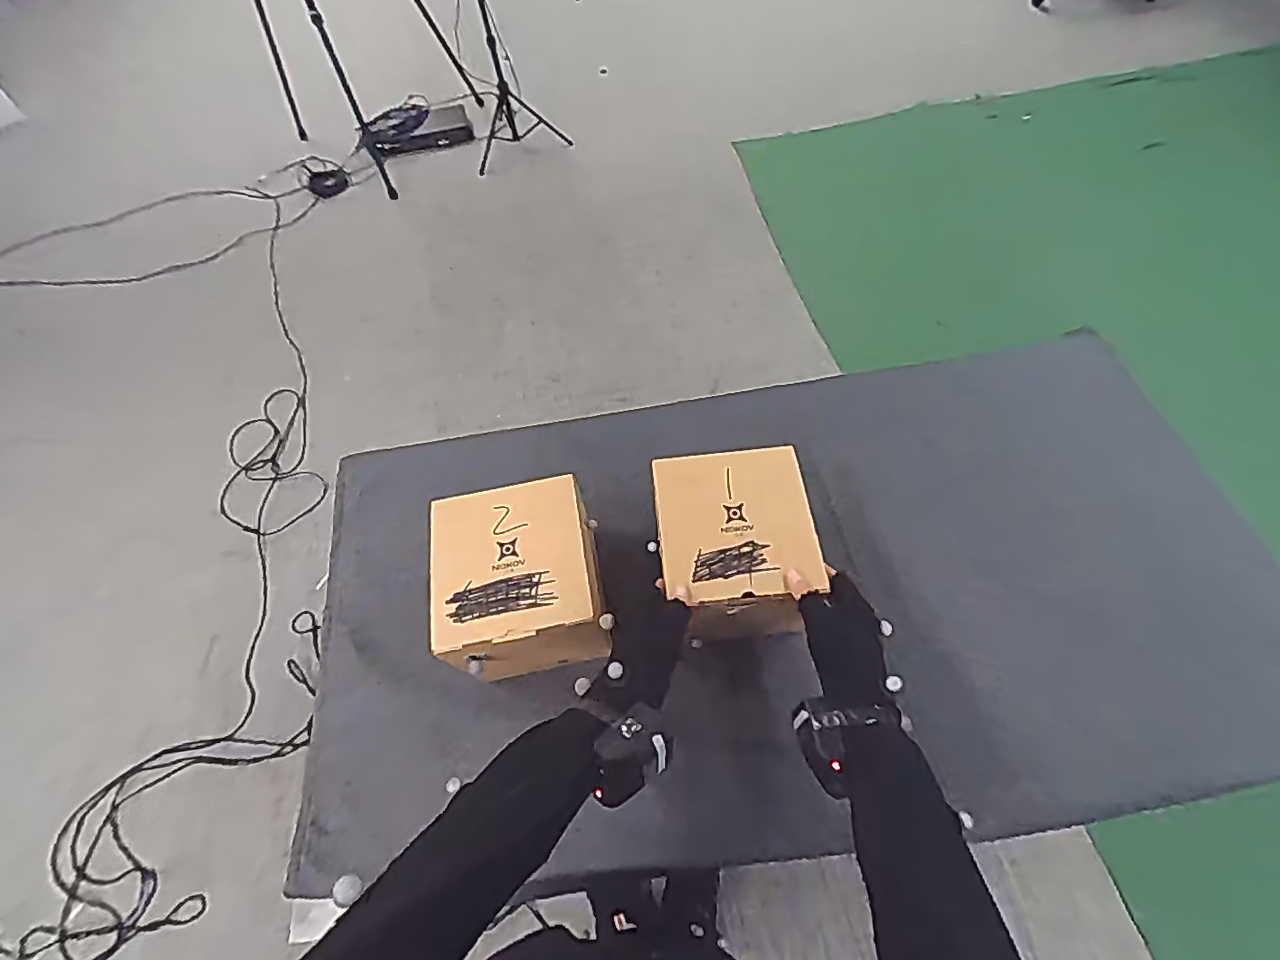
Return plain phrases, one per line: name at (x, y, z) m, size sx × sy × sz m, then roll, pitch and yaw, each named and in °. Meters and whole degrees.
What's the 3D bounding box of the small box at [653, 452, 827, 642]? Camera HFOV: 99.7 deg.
small box at (0.109, 0.090, 0.651) m, size 0.168 × 0.176 × 0.179 m, roll -6°, pitch 59°, yaw 1°
